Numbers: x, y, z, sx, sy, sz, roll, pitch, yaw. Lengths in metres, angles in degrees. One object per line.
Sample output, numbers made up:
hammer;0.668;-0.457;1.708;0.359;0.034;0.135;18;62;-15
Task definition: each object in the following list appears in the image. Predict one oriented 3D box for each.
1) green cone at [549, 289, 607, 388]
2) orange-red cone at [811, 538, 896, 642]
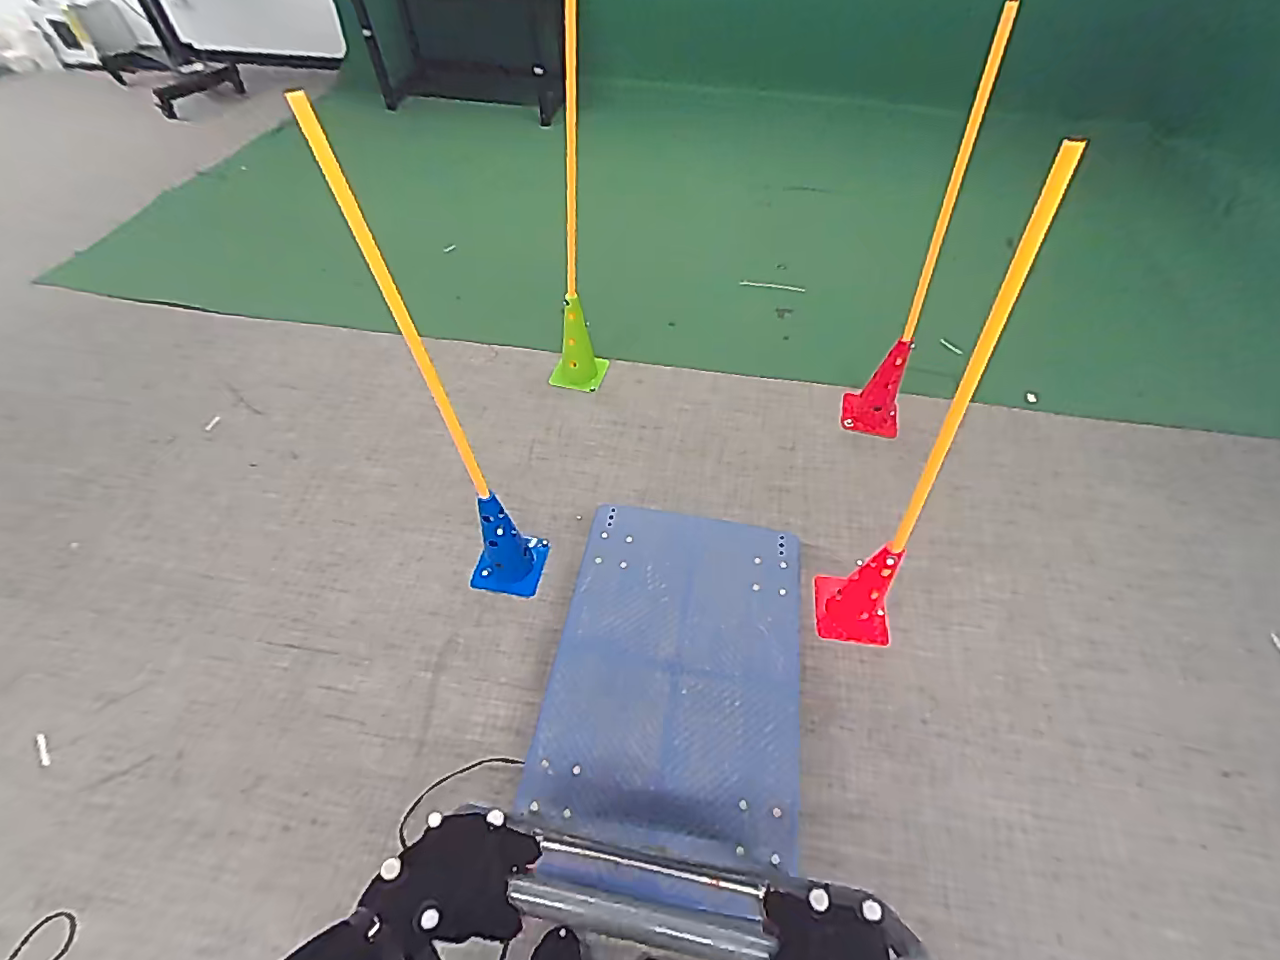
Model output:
green cone;-0.247;-0.552;2.041;0.202;0.368;0.200;12;53;9
orange-red cone;0.598;0.265;1.442;0.199;0.360;0.198;7;52;6
